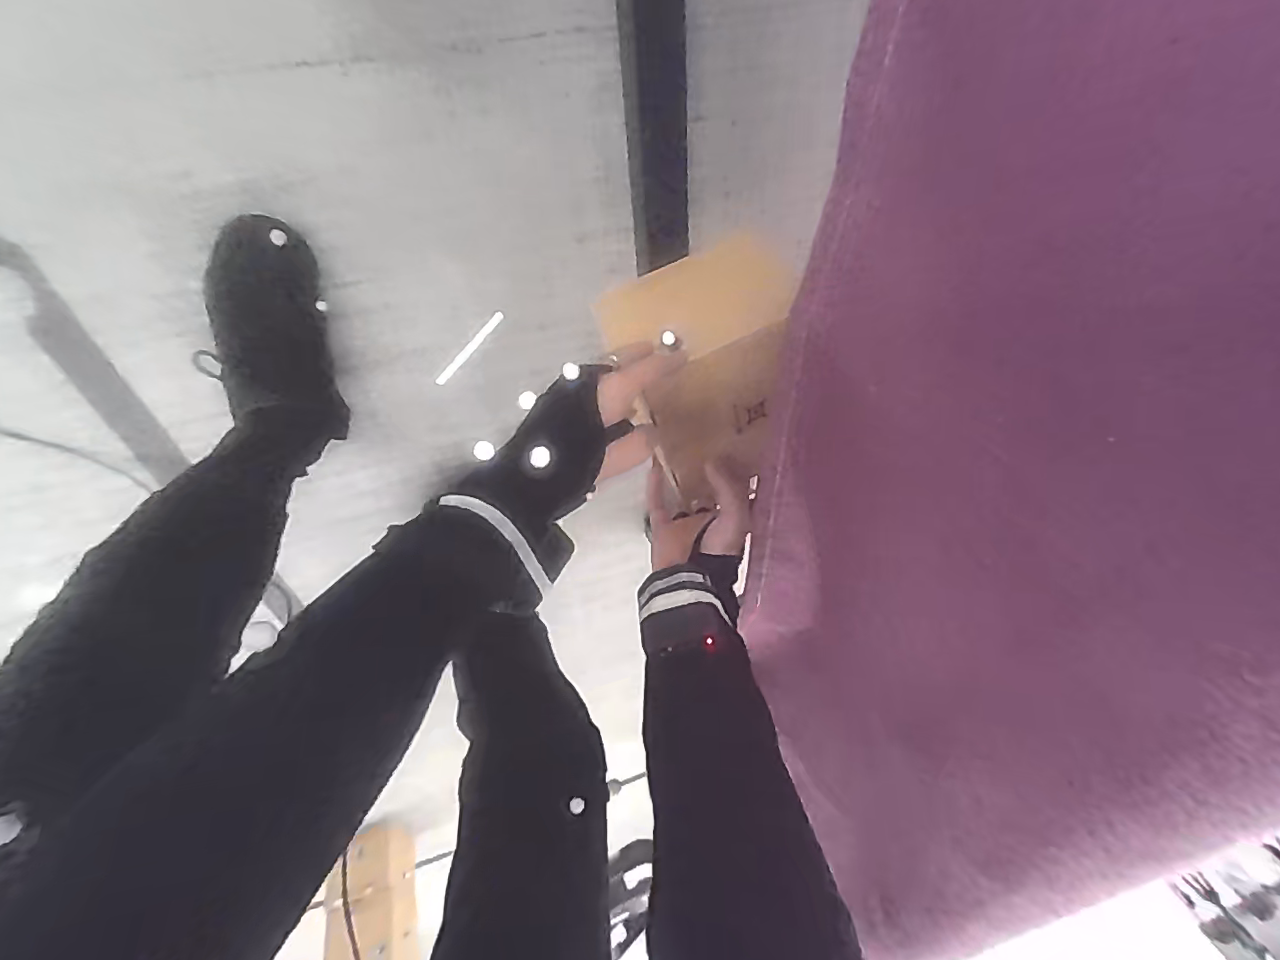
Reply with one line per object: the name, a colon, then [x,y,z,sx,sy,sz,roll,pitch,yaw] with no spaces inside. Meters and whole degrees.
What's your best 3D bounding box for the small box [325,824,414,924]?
small box: [-0.744,1.093,1.507,0.168,0.176,0.179,-18,133,-9]
